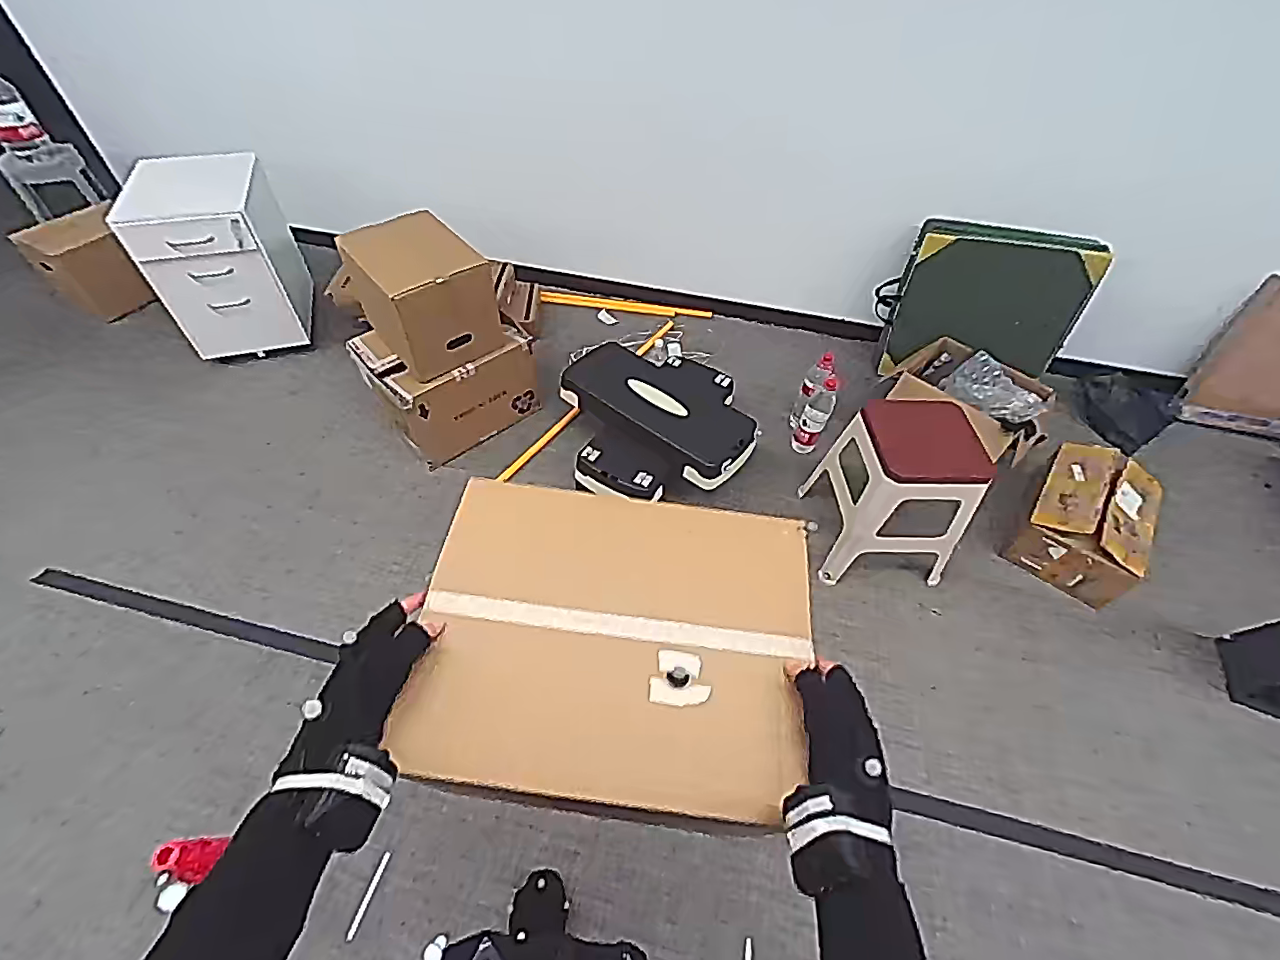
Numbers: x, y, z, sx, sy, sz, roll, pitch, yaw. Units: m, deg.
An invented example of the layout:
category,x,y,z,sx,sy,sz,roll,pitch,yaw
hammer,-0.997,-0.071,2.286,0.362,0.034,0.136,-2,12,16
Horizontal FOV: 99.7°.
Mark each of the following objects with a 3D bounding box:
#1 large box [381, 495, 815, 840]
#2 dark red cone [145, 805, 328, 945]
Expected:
category,x,y,z,sx,sy,sz,roll,pitch,yaw
large box,-0.034,0.249,0.690,0.408,0.320,0.320,8,56,1
dark red cone,-0.787,0.717,1.014,0.201,0.394,0.202,18,52,10
